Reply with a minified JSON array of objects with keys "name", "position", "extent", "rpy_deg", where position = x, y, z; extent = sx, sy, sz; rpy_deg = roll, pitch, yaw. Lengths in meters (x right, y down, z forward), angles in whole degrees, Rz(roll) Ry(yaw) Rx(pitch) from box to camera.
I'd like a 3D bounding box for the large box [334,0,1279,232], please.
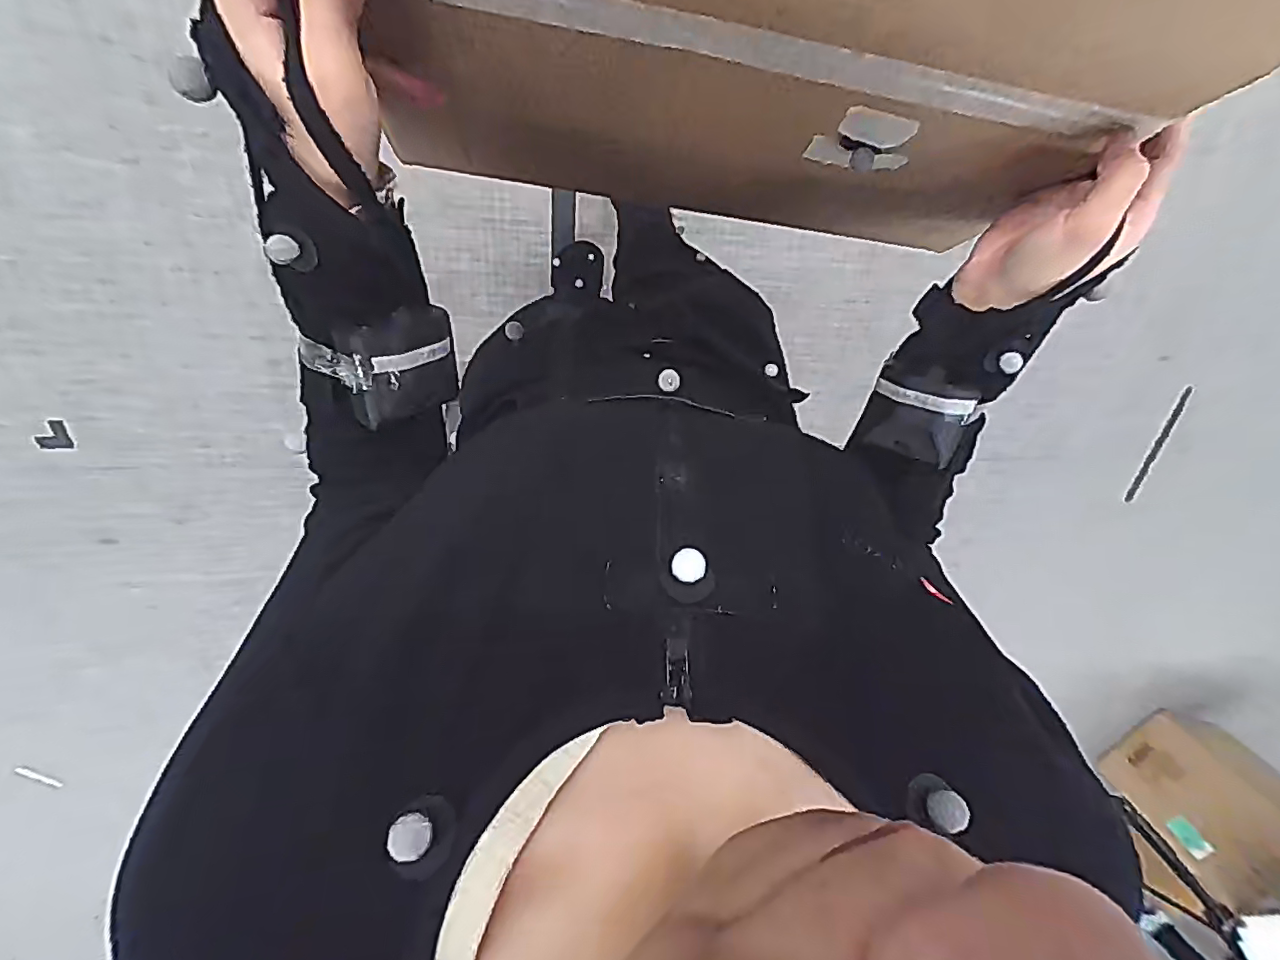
[{"name":"large box","position":[0.070,-0.353,0.244],"extent":[0.408,0.320,0.320],"rpy_deg":[3,91,-10]}]
